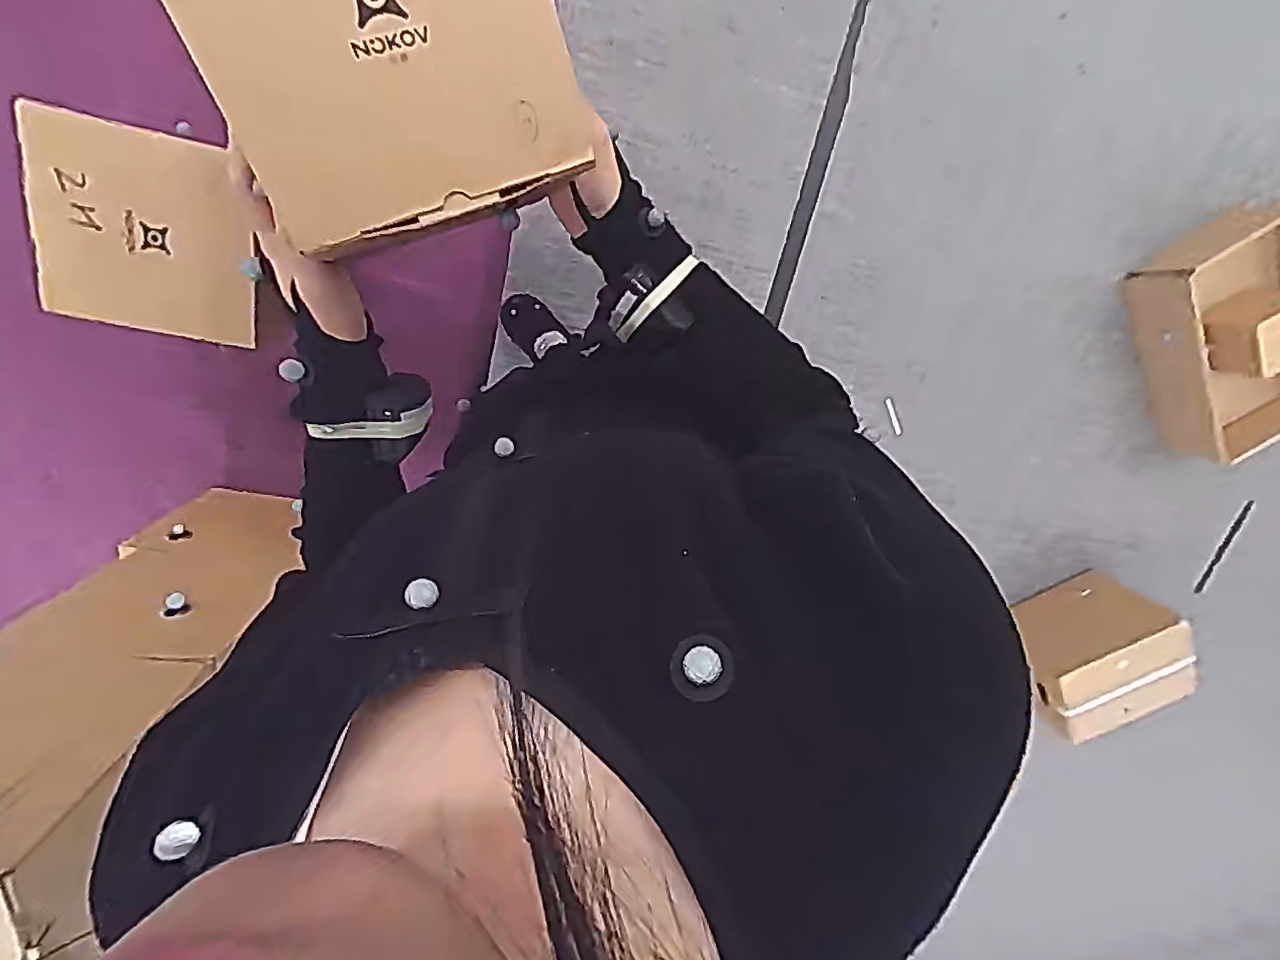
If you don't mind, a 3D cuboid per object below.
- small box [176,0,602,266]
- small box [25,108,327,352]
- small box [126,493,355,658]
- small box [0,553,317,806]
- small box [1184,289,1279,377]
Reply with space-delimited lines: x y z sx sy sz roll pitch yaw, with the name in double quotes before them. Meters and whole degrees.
"small box" -0.143 -0.241 0.321 0.168 0.176 0.179 -25 116 -12
"small box" -0.435 -0.238 0.547 0.179 0.176 0.168 10 108 -10
"small box" -0.480 0.127 0.680 0.179 0.176 0.168 9 109 -10
"small box" -0.440 0.183 0.530 0.179 0.176 0.168 4 109 -9
"small box" 1.668 -0.409 1.483 0.179 0.176 0.168 -32 111 6
